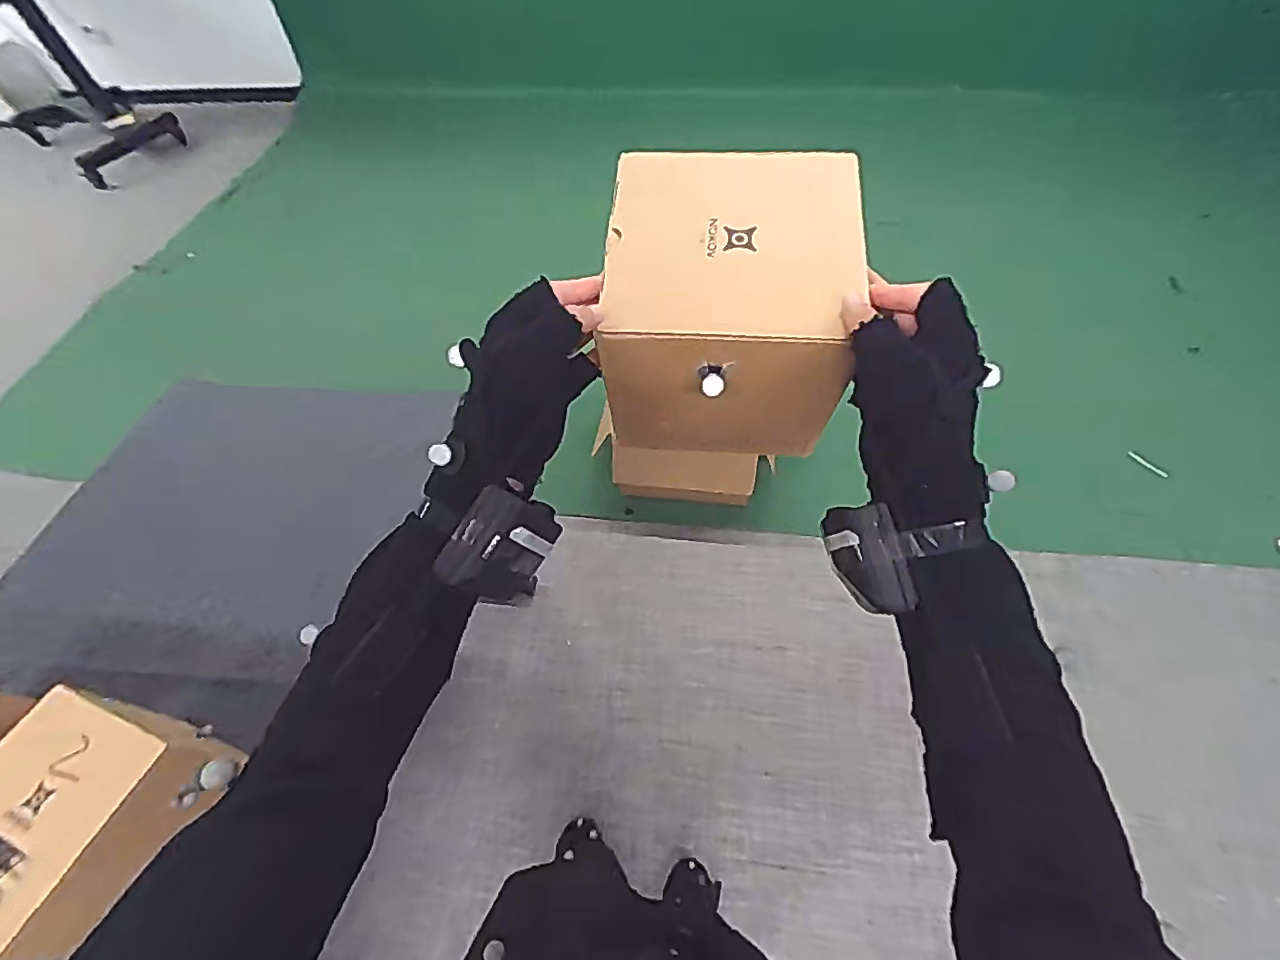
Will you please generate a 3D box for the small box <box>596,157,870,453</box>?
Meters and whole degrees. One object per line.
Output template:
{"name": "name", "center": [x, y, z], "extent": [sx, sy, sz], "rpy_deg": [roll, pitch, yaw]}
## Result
{"name": "small box", "center": [0.070, -0.131, 0.446], "extent": [0.179, 0.176, 0.168], "rpy_deg": [3, 68, 6]}
